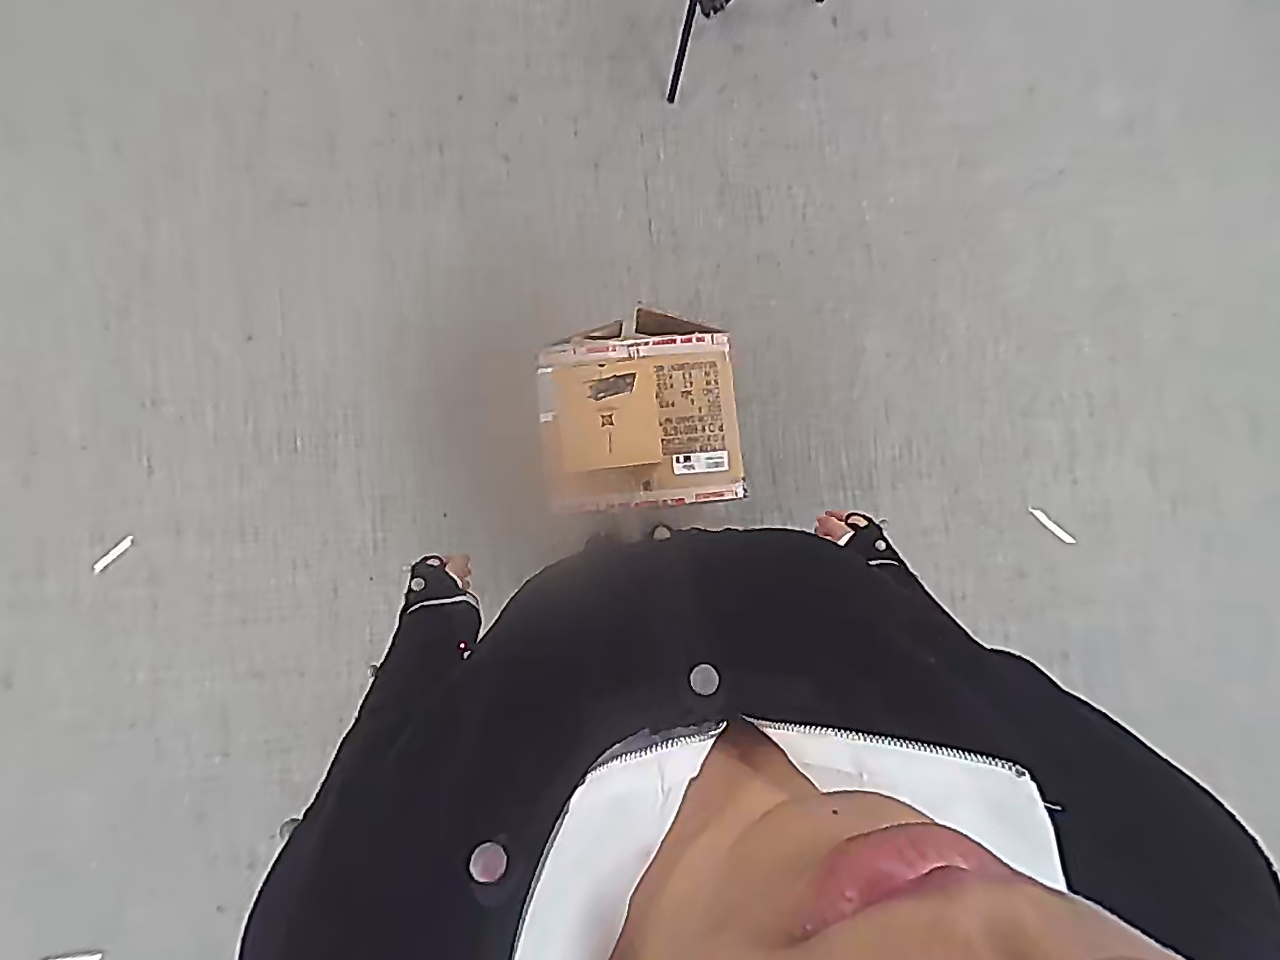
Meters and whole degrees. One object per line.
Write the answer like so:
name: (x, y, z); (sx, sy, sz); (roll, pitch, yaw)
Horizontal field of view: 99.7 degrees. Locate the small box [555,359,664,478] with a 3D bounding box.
small box: (-0.053, -0.100, 0.954); (0.168, 0.176, 0.179); (-6, 89, -2)
